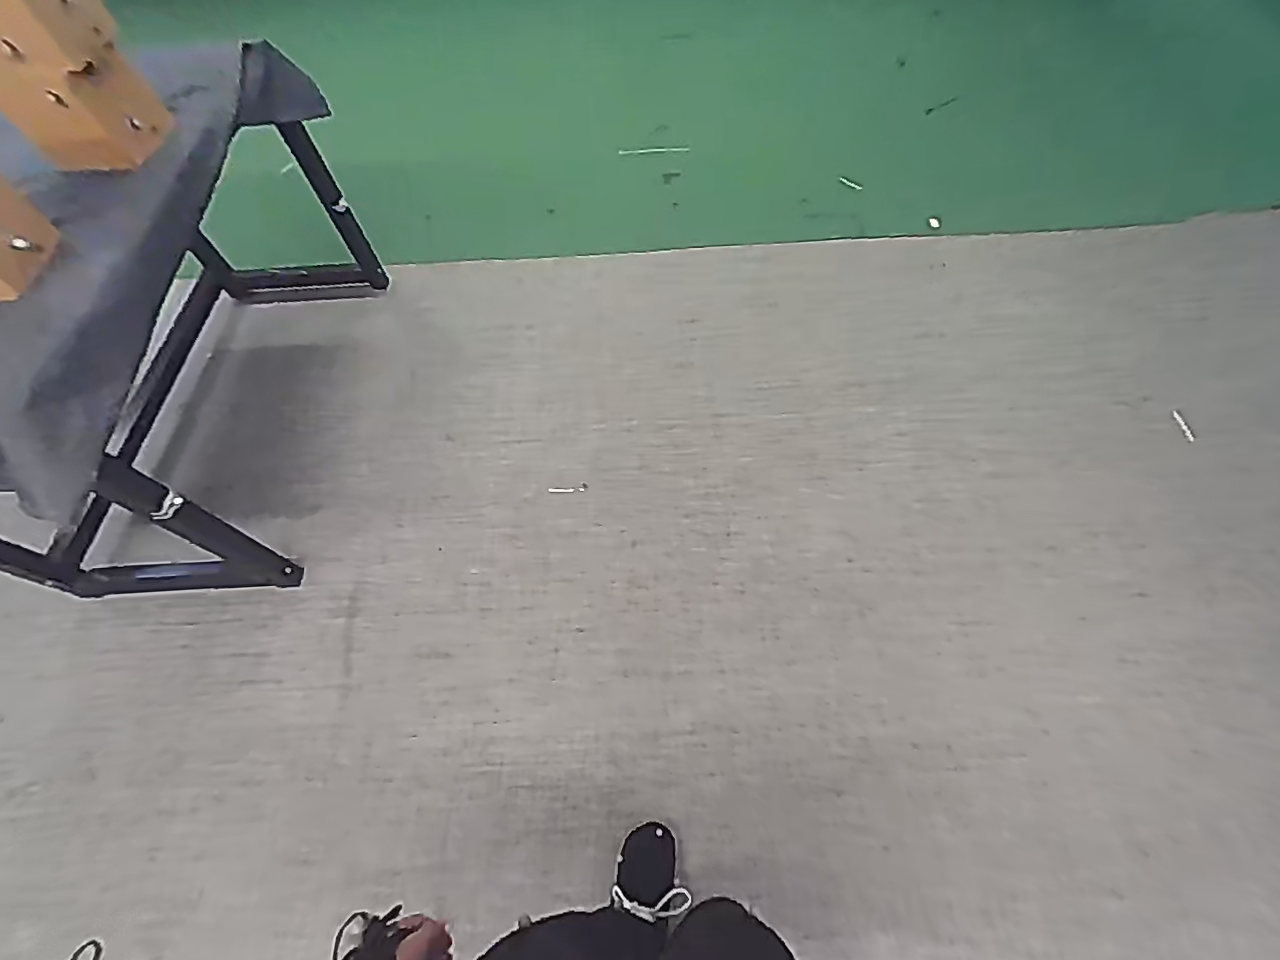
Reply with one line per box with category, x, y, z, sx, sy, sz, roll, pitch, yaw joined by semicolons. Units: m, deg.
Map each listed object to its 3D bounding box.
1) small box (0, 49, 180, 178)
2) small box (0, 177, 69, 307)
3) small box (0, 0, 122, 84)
small box;-1.089;-0.724;1.073;0.179;0.176;0.168;0;60;3
small box;-1.124;-0.397;0.882;0.179;0.176;0.168;-6;60;-1
small box;-1.078;-0.819;0.938;0.179;0.176;0.168;-3;60;0
